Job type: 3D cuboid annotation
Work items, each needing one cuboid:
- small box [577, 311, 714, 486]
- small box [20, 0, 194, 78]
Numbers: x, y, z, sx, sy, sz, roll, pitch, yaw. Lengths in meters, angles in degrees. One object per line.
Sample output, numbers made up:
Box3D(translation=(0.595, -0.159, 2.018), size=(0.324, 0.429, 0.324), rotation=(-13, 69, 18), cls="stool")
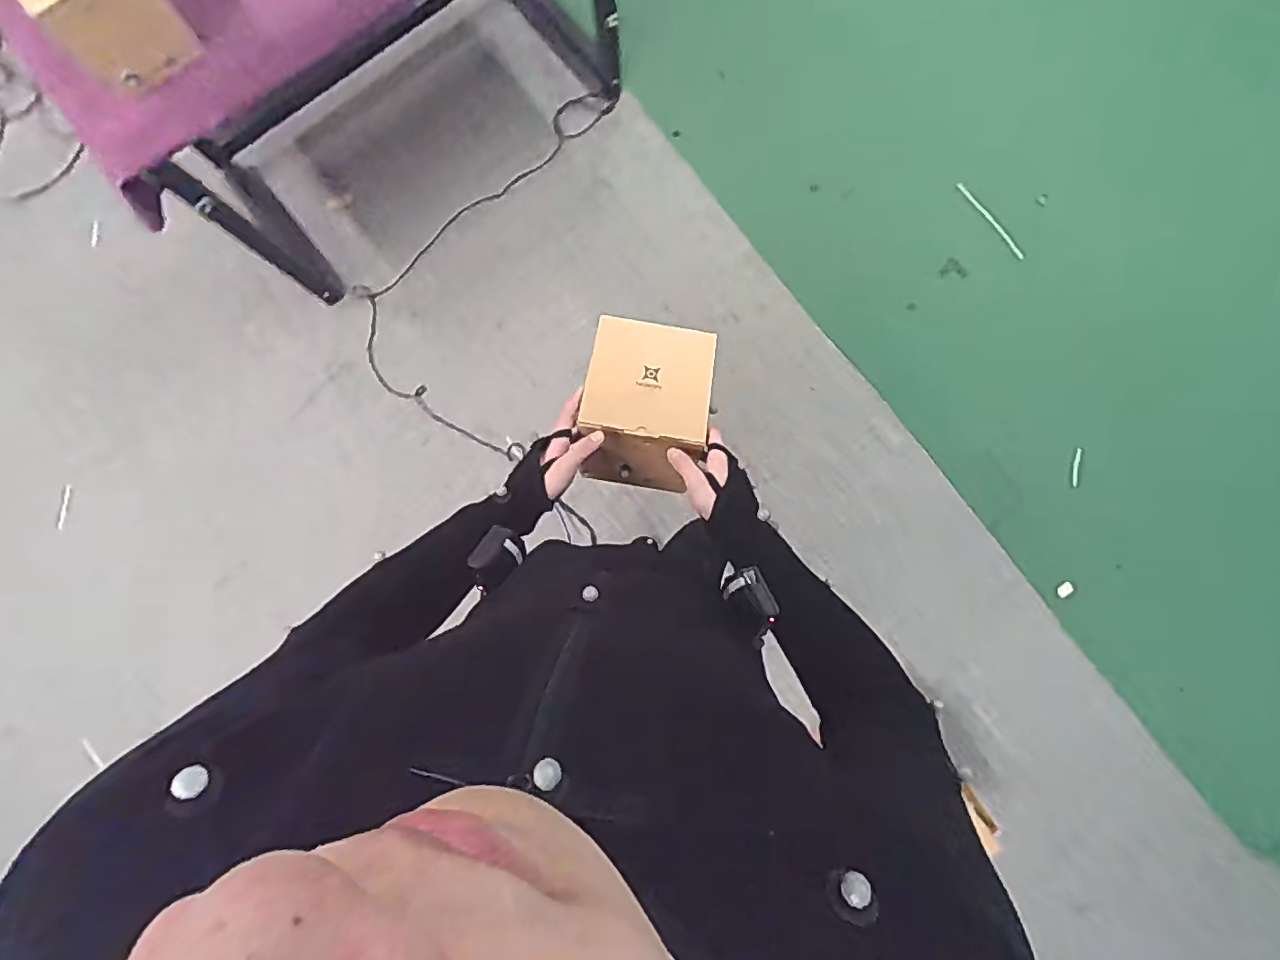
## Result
Box3D(translation=(0.003, -0.109, 0.780), size=(0.168, 0.176, 0.179), rotation=(8, 68, -2), cls="small box")
Box3D(translation=(-0.918, -0.828, 0.909), size=(0.168, 0.176, 0.179), rotation=(-36, 85, -3), cls="small box")
